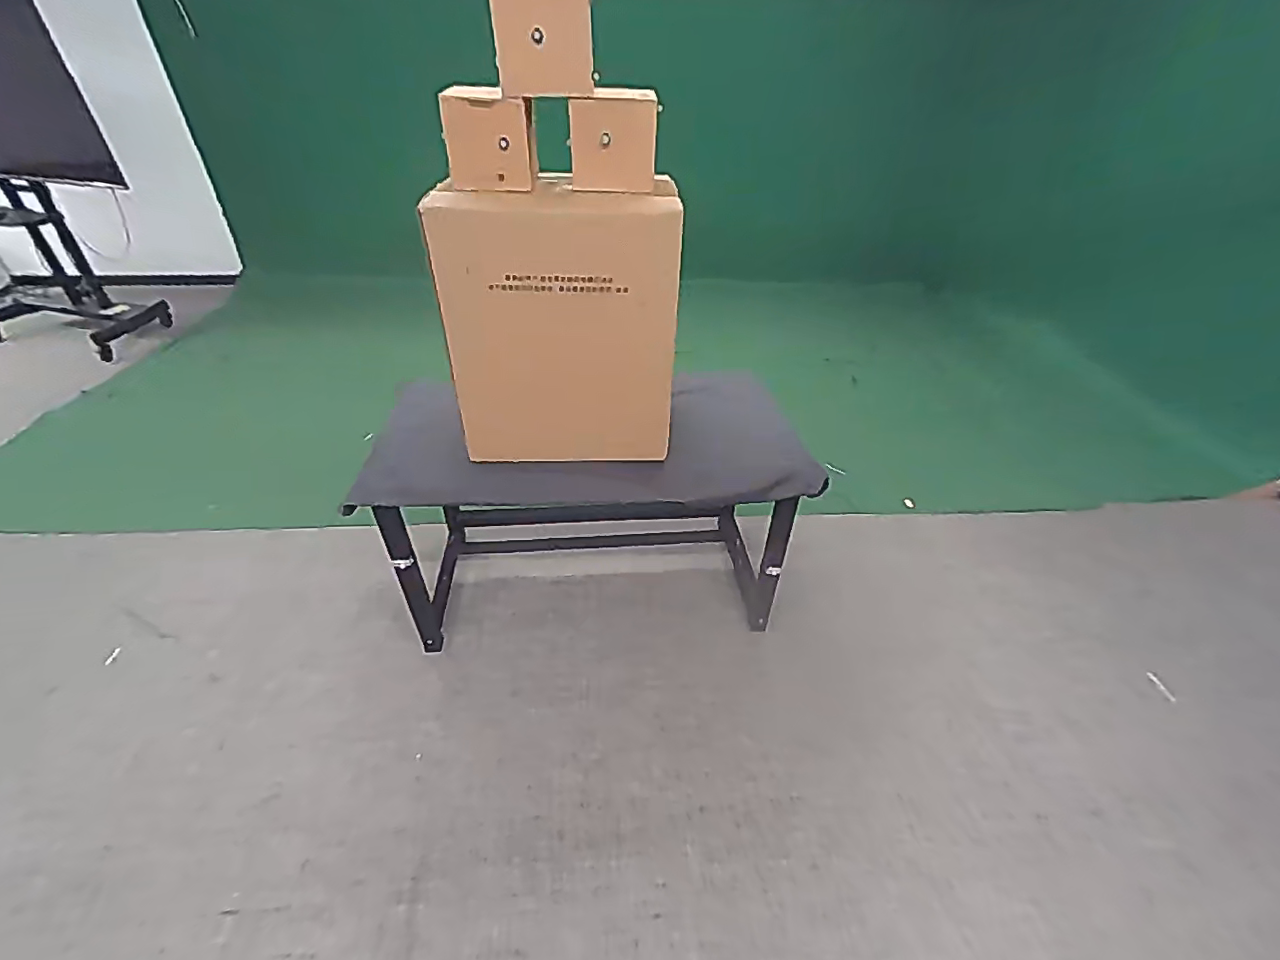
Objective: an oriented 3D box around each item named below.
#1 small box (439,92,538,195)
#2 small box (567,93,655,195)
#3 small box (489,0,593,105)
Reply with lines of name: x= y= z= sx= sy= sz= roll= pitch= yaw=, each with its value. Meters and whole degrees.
small box: x=-0.313 y=-0.721 z=1.160 sx=0.168 sy=0.176 sz=0.179 roll=0 pitch=39 yaw=-4
small box: x=-0.057 y=-0.727 z=1.171 sx=0.179 sy=0.176 sz=0.168 roll=-1 pitch=41 yaw=-1
small box: x=-0.184 y=-0.849 z=1.058 sx=0.179 sy=0.176 sz=0.168 roll=-3 pitch=41 yaw=-2
